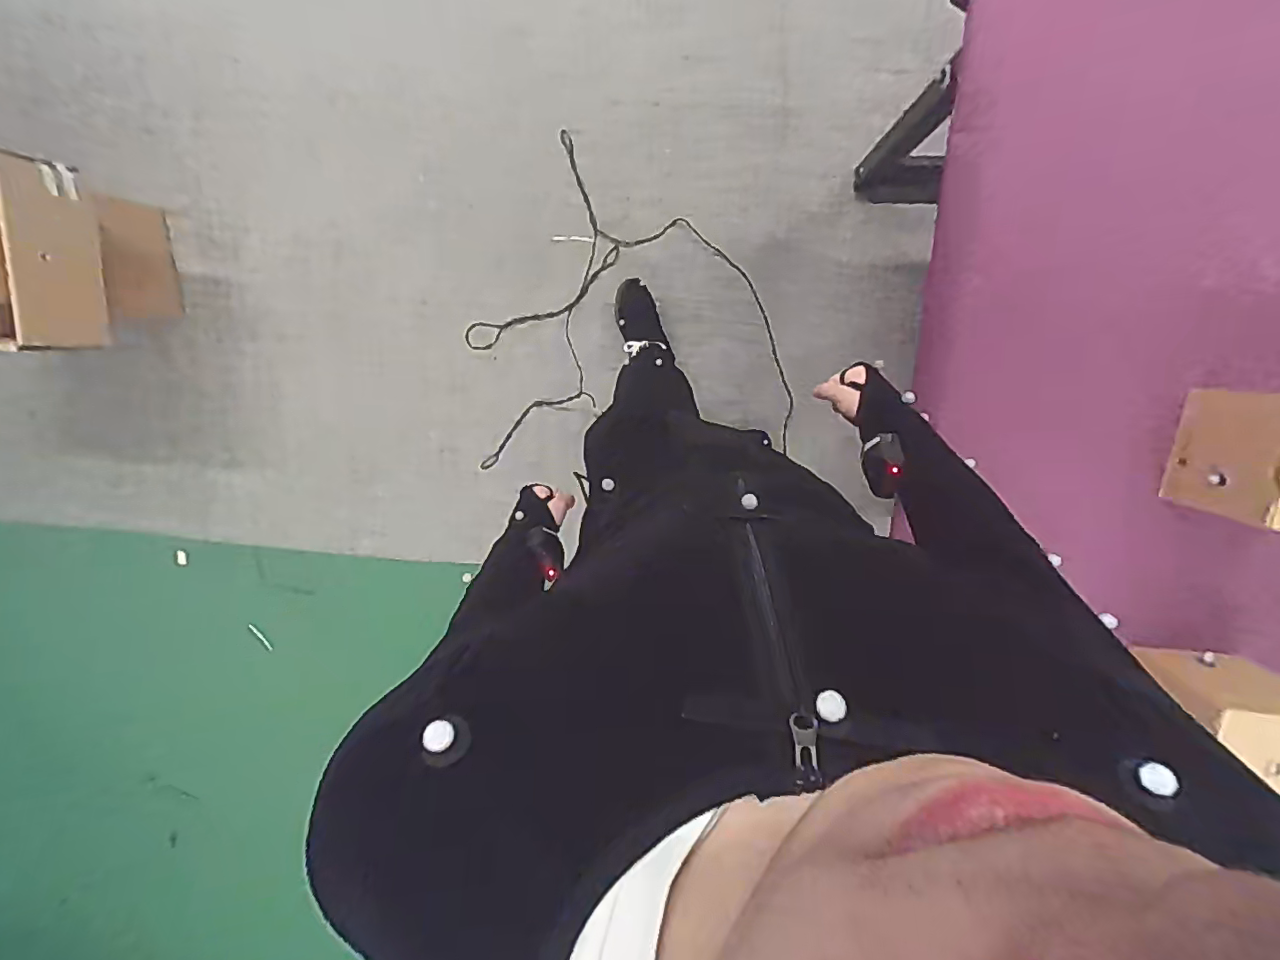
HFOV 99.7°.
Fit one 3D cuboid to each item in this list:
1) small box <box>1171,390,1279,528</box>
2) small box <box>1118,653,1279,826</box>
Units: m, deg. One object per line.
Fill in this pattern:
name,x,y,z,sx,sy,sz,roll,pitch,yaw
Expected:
small box,0.872,-0.026,0.710,0.179,0.176,0.168,6,104,5
small box,0.867,0.373,0.796,0.179,0.176,0.168,4,102,6
